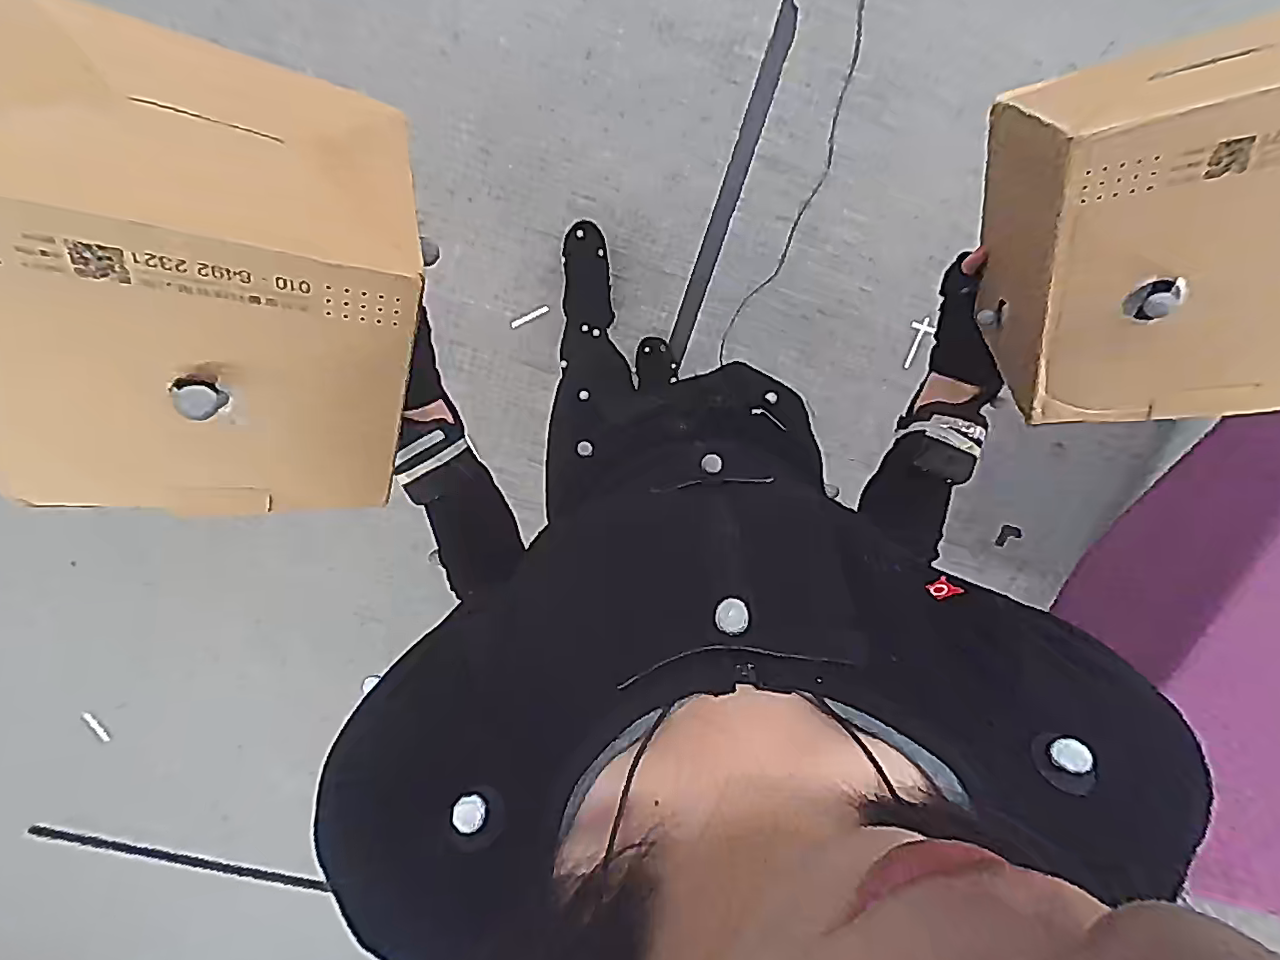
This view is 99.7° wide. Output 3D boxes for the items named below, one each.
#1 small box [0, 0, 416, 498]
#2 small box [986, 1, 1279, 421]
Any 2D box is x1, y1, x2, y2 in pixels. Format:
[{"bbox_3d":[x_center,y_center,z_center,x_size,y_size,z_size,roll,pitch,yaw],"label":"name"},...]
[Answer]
[{"bbox_3d":[-0.213,-0.110,0.273,0.168,0.179,0.176,3,139,-30],"label":"small box"},{"bbox_3d":[0.320,-0.156,0.315,0.168,0.179,0.176,-2,128,21],"label":"small box"}]
